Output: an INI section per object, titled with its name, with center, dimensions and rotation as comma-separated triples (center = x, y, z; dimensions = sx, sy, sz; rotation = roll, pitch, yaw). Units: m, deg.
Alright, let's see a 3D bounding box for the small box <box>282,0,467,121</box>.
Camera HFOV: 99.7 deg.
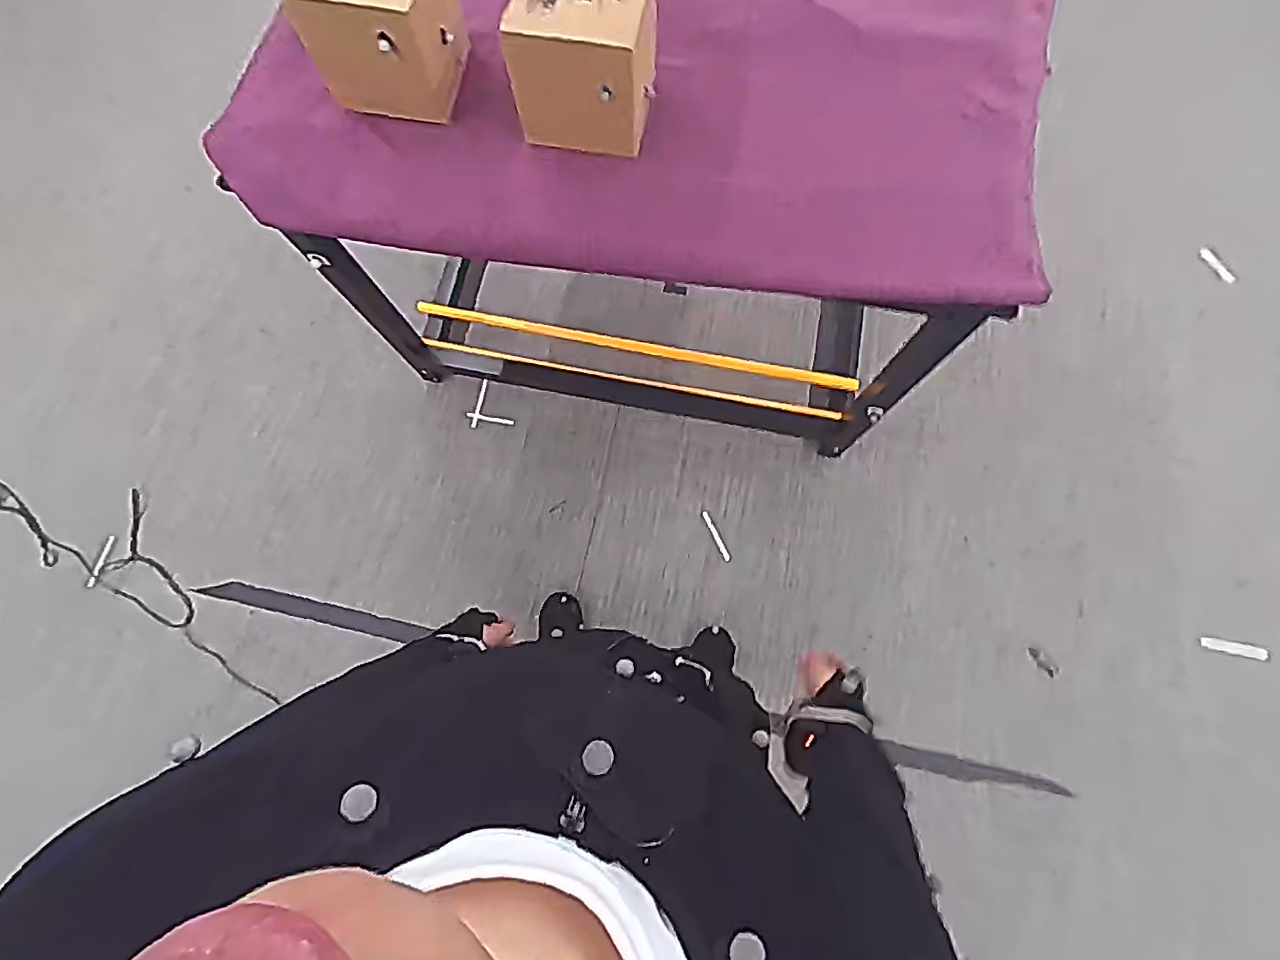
[small box]
center = -0.375, -0.672, 0.799
dimensions = 0.179, 0.176, 0.168
rotation = 9, 75, 1
